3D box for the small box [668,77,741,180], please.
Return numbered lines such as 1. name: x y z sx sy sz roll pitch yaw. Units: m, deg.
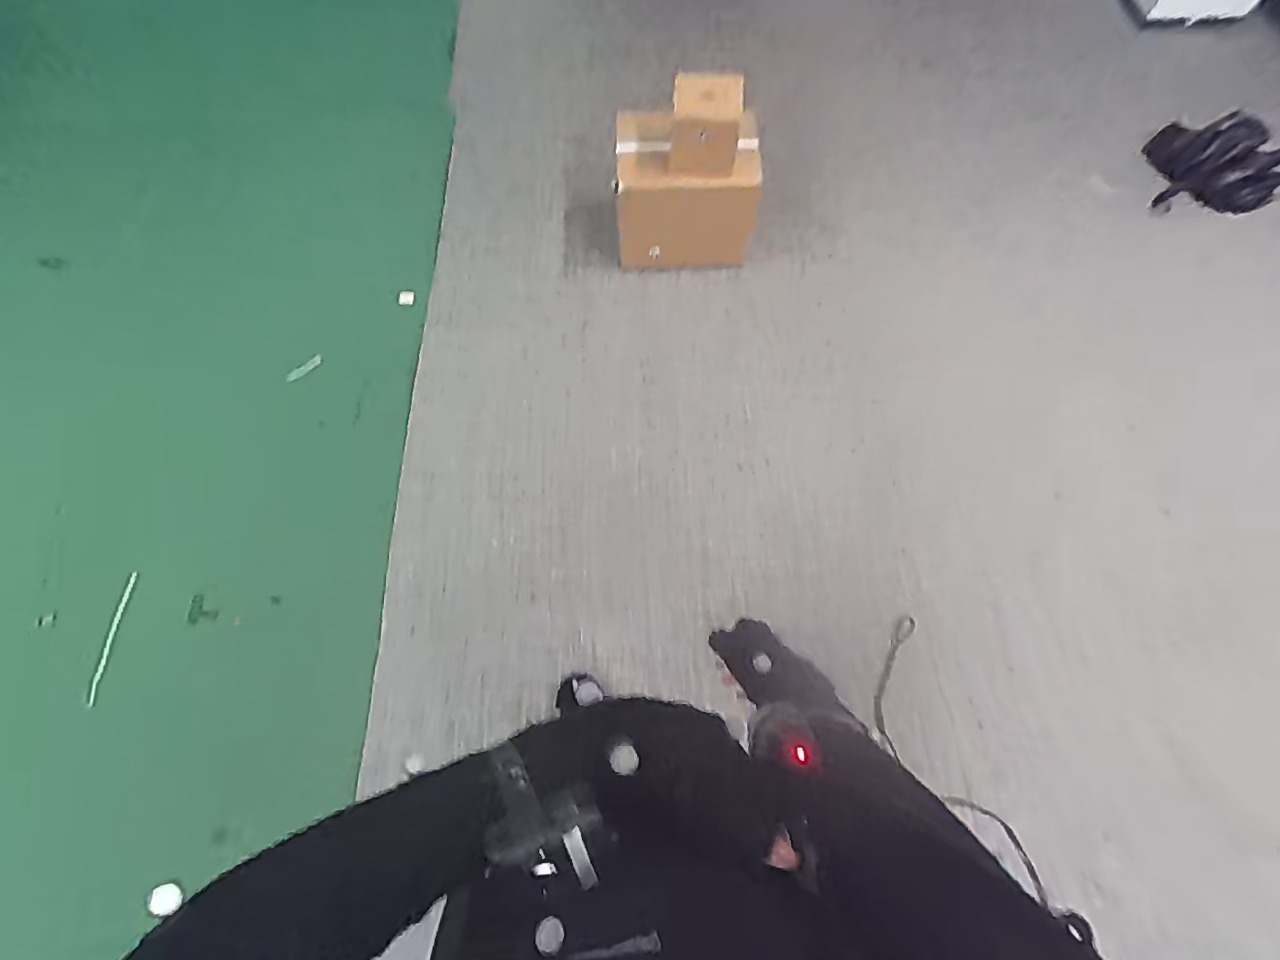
1. small box: 0.168 -0.932 1.443 0.179 0.176 0.168 4 70 1
